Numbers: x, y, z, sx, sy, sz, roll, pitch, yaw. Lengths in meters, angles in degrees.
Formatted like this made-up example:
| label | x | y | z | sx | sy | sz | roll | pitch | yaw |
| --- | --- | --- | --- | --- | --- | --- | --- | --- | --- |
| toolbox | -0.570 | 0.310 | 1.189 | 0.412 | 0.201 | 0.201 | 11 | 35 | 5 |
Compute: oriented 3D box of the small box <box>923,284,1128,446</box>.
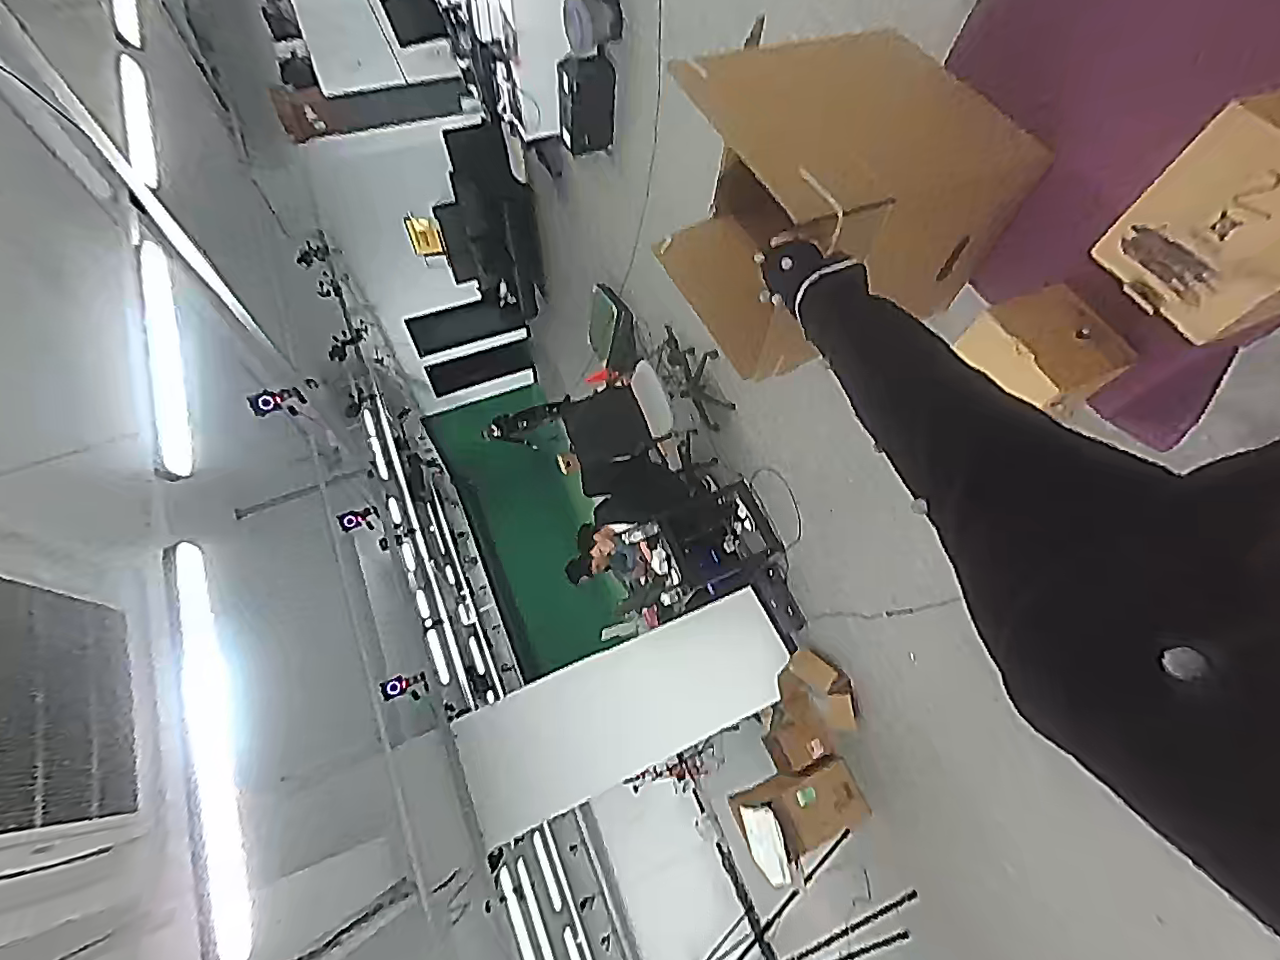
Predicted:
| label | x | y | z | sx | sy | sz | roll | pitch | yaw |
| --- | --- | --- | --- | --- | --- | --- | --- | --- | --- |
| small box | 0.618 | -0.186 | 0.882 | 0.179 | 0.176 | 0.168 | 102 | 145 | -63 |
